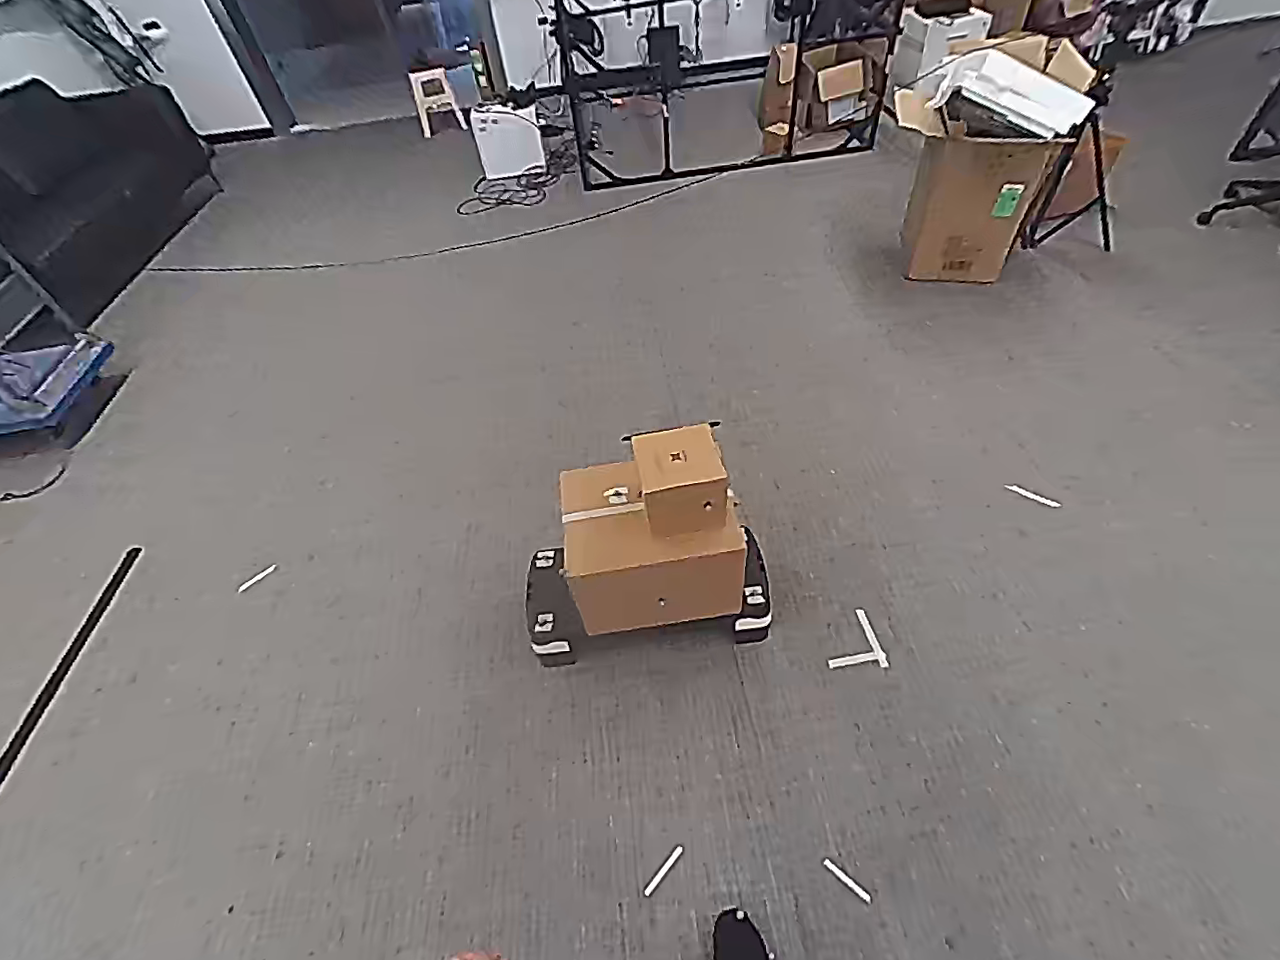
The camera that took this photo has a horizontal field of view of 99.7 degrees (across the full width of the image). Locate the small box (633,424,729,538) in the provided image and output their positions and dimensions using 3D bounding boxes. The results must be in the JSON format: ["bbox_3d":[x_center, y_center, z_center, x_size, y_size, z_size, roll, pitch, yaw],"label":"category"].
[{"bbox_3d":[0.088,0.005,1.184,0.179,0.176,0.168,-11,49,-1],"label":"small box"}]

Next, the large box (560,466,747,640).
[{"bbox_3d":[0.033,0.171,1.373,0.408,0.320,0.320,-10,48,0],"label":"large box"}]
